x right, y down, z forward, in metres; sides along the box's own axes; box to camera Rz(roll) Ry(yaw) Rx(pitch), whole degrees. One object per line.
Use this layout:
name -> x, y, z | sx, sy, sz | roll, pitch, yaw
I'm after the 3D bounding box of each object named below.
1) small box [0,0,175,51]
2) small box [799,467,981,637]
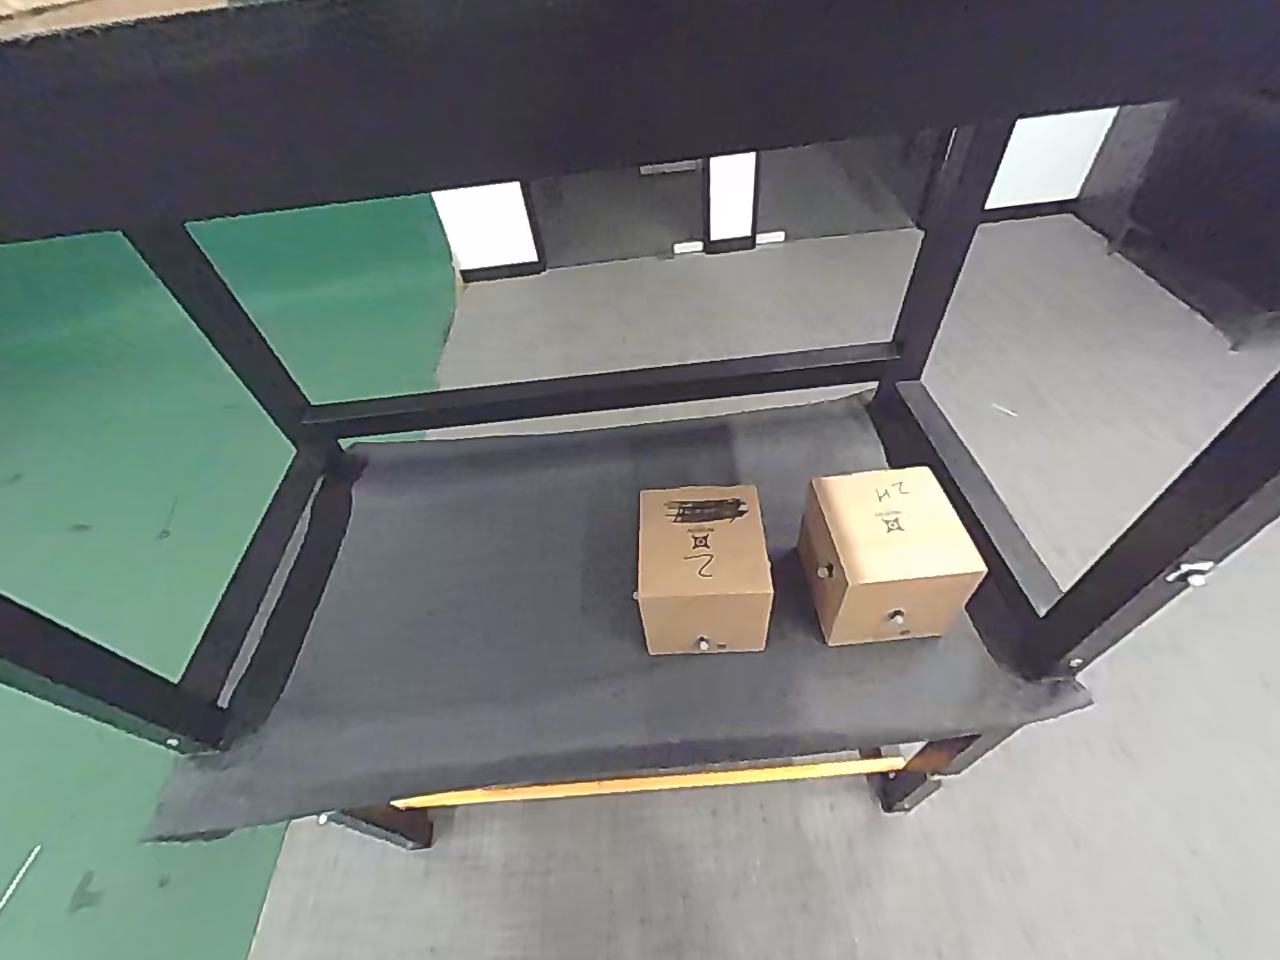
small box -> -0.350, -0.292, 0.228 | 0.168, 0.176, 0.179 | -6, 48, 2
small box -> 0.332, 0.108, 0.760 | 0.168, 0.176, 0.179 | -6, 47, 2
